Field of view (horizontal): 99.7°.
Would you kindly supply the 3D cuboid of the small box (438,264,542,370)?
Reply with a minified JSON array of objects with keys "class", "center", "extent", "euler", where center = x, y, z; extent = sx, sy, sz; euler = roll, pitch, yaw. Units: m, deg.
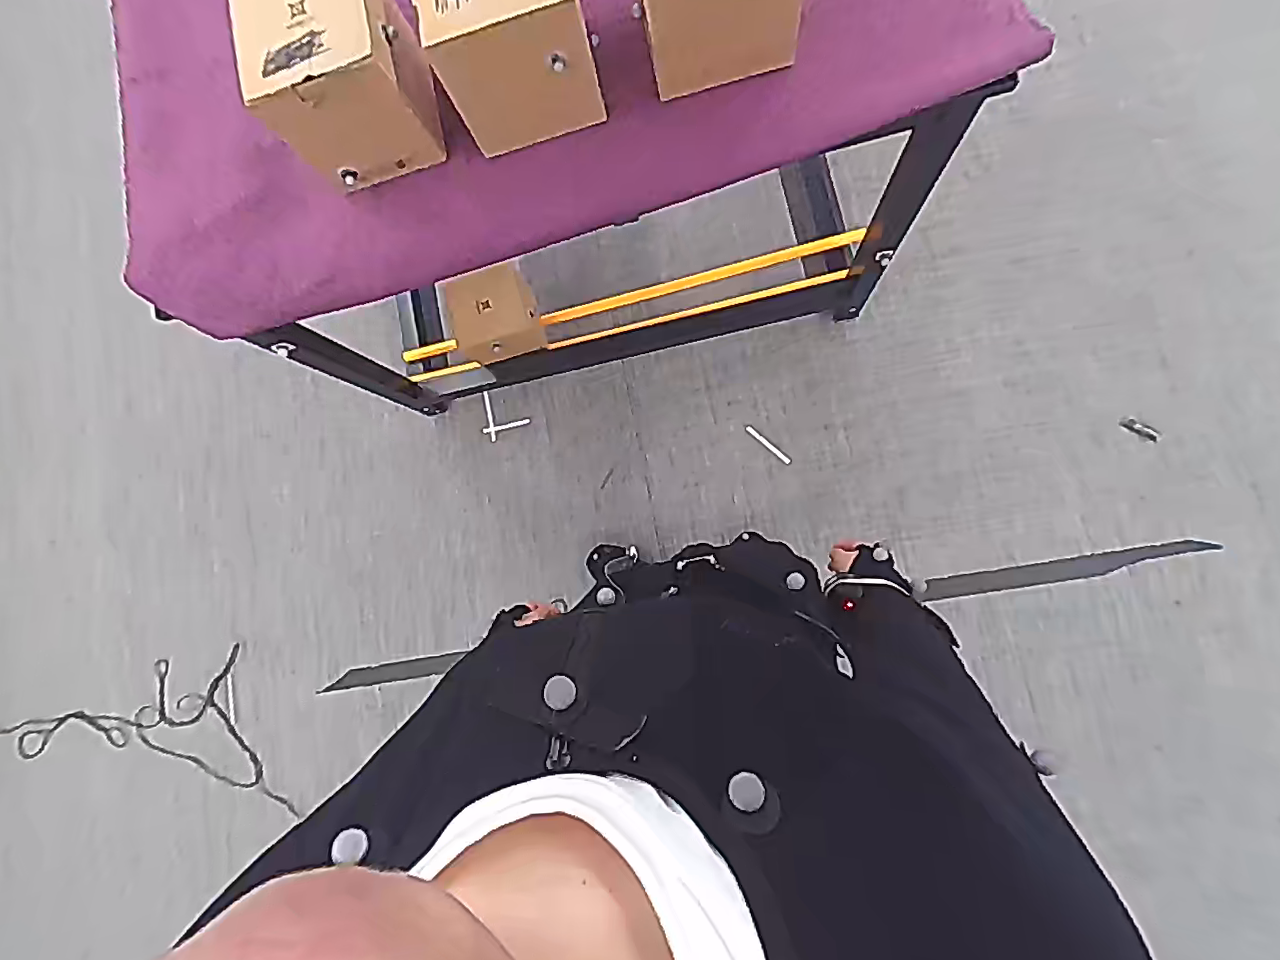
[{"class":"small box","center":[-0.349,-0.383,1.299],"extent":[0.179,0.176,0.168],"euler":[-16,84,7]}]
